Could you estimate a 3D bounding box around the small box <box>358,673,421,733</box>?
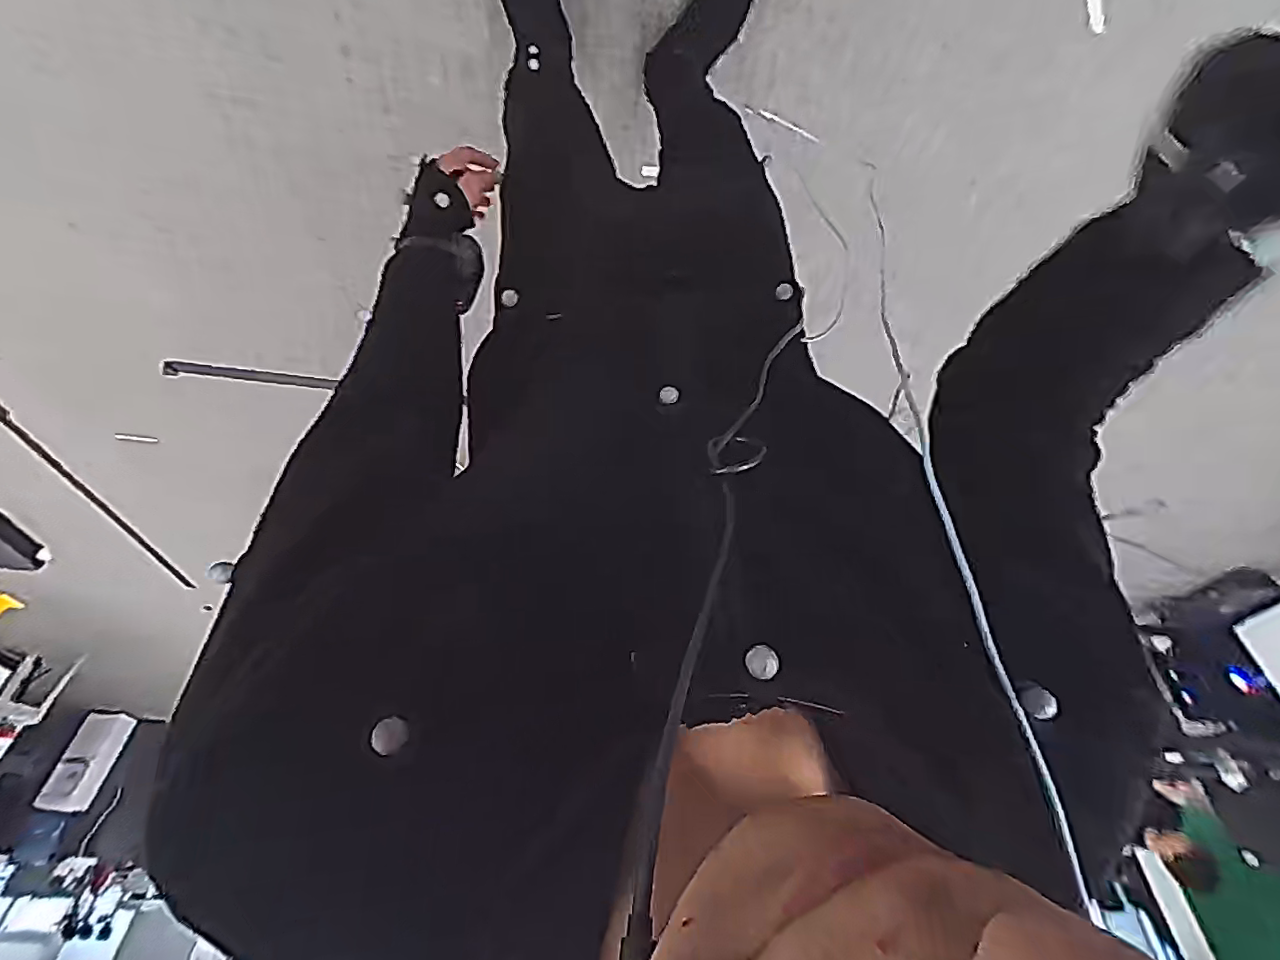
[{"bbox_3d":[-0.928,0.833,2.017,0.168,0.176,0.179,7,142,-8],"label":"small box"}]
